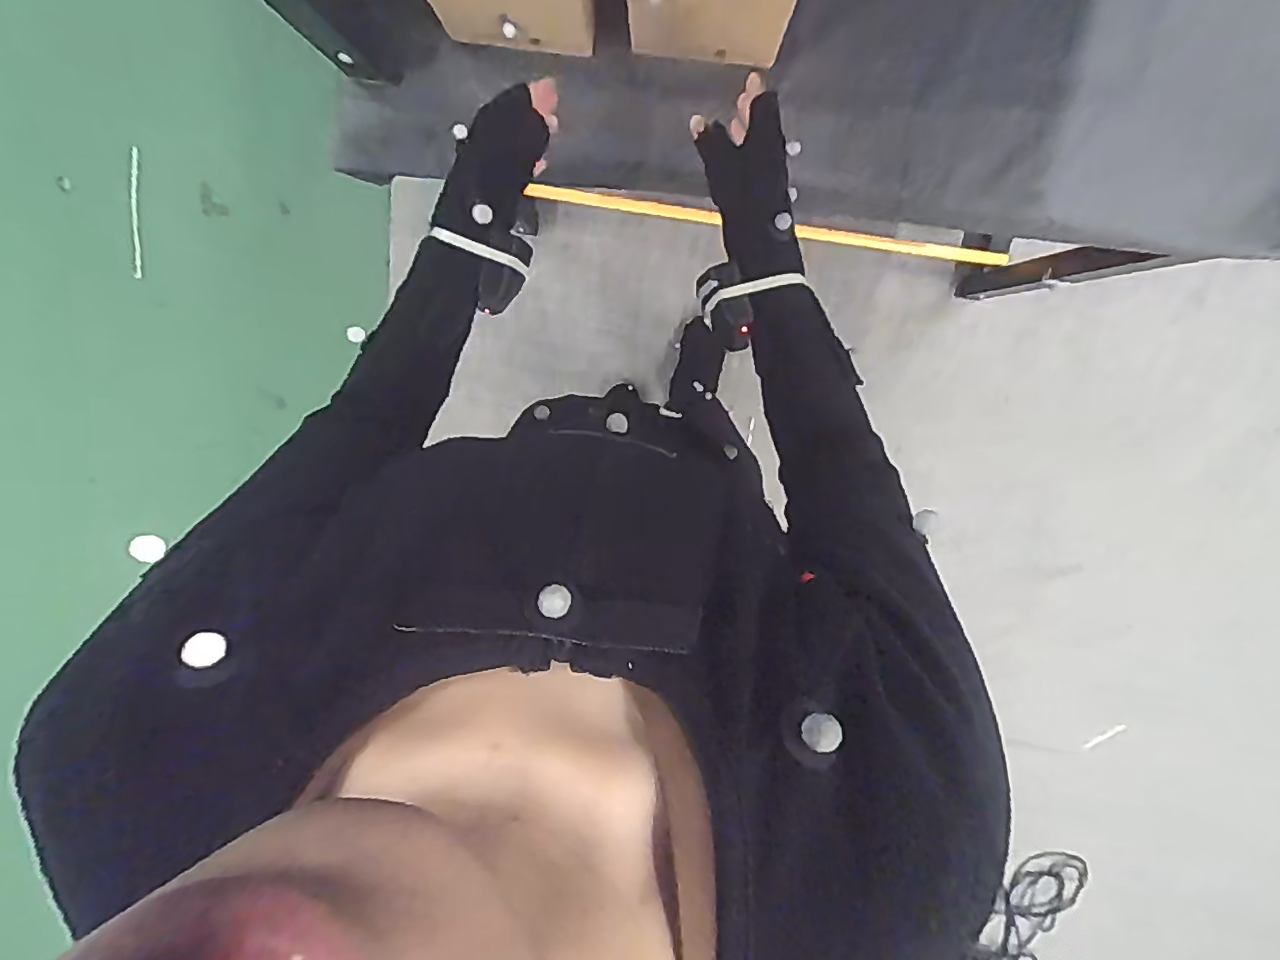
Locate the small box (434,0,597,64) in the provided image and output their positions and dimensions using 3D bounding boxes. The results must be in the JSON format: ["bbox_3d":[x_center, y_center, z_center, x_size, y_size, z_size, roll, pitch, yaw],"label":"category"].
[{"bbox_3d":[-0.129,-0.562,0.534,0.168,0.176,0.179,7,102,0],"label":"small box"}]
